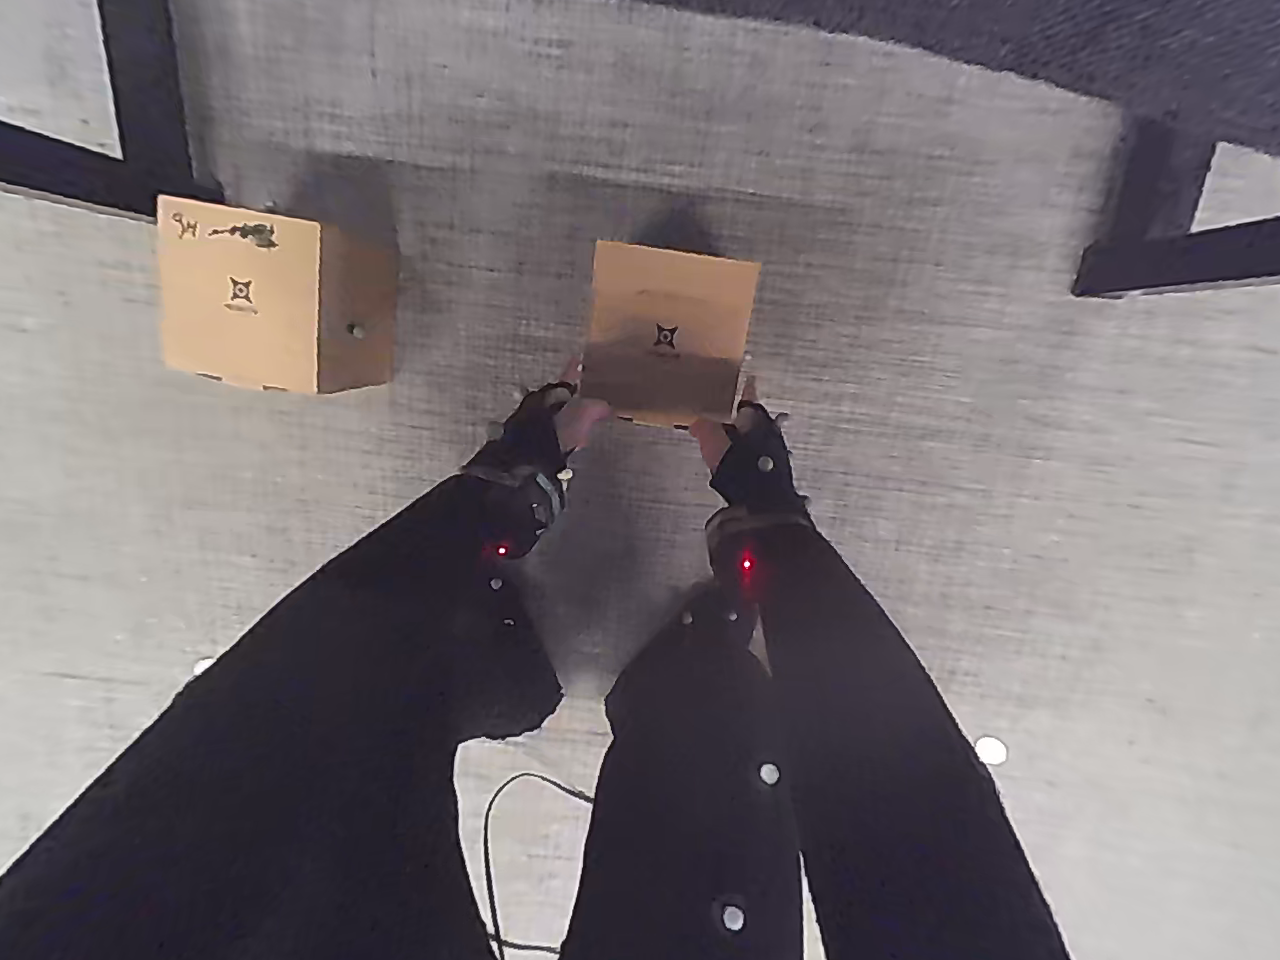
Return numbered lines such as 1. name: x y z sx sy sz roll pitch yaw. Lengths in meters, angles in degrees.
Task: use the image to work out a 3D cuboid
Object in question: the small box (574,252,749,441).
1. small box: 0.023 -0.152 0.636 0.168 0.176 0.179 7 102 0
